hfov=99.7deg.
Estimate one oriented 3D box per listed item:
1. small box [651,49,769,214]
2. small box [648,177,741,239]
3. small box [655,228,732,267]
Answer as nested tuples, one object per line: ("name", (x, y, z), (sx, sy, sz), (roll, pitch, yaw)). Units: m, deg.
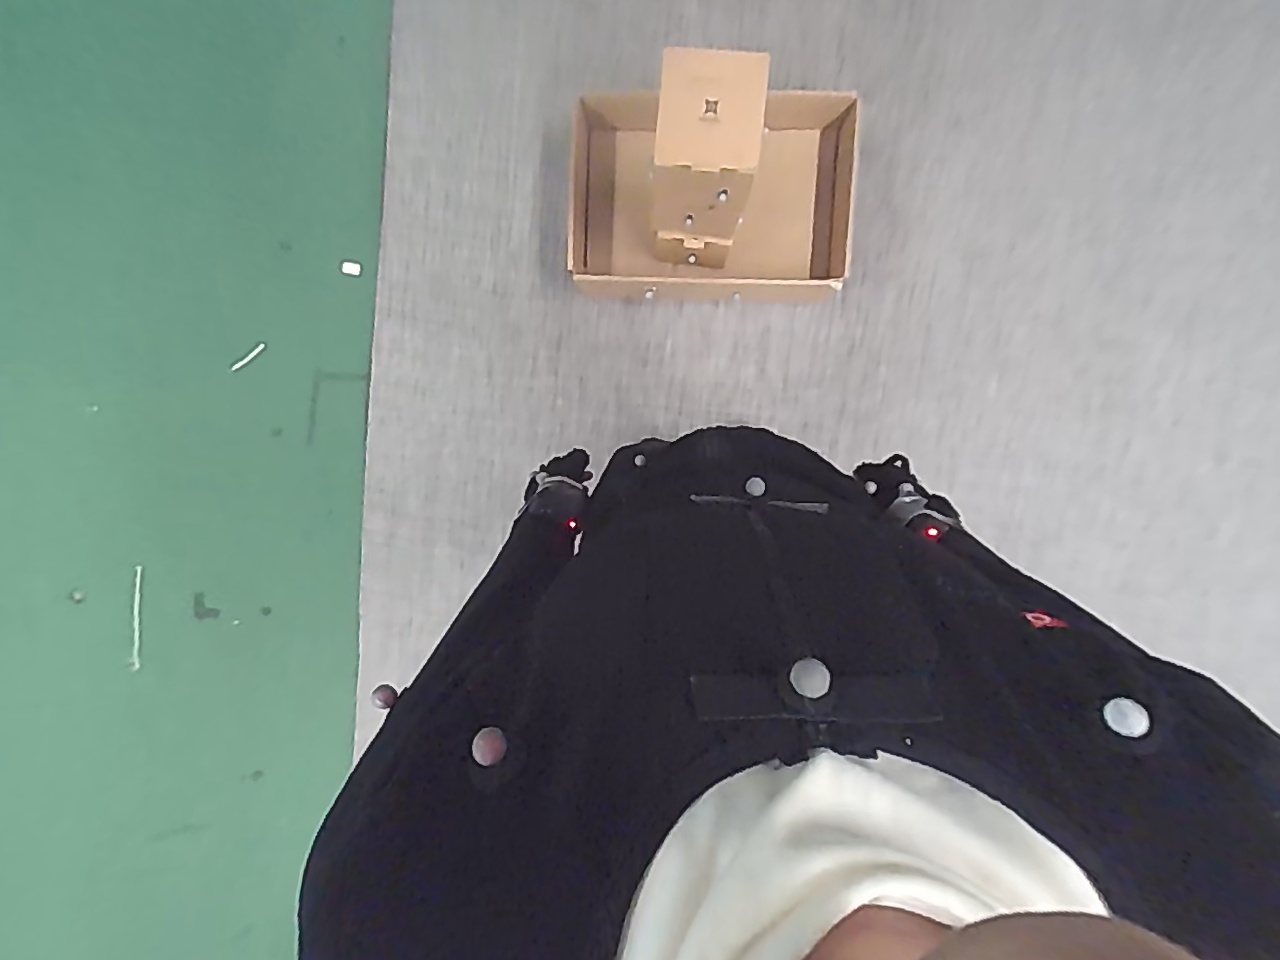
("small box", (0.110, -0.572, 0.911), (0.168, 0.176, 0.179), (6, 94, 1))
("small box", (0.120, -0.597, 1.071), (0.179, 0.176, 0.168), (11, 95, 3))
("small box", (0.131, -0.603, 1.235), (0.168, 0.176, 0.179), (9, 97, 2))
